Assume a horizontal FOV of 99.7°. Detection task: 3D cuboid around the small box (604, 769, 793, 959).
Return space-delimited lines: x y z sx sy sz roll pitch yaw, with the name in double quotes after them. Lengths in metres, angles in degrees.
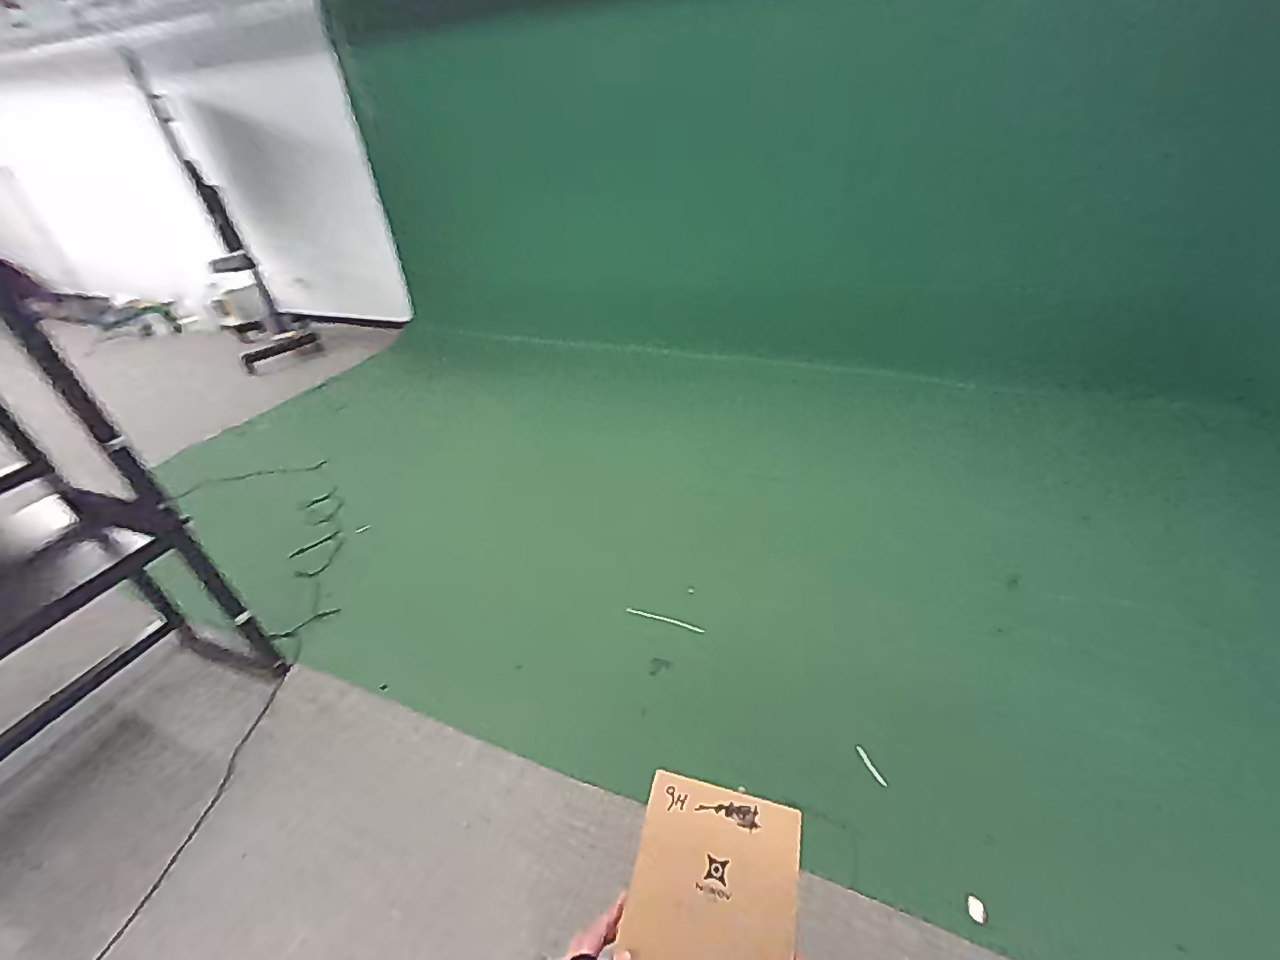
0.068 0.460 0.599 0.168 0.176 0.179 10 44 11 "small box"
